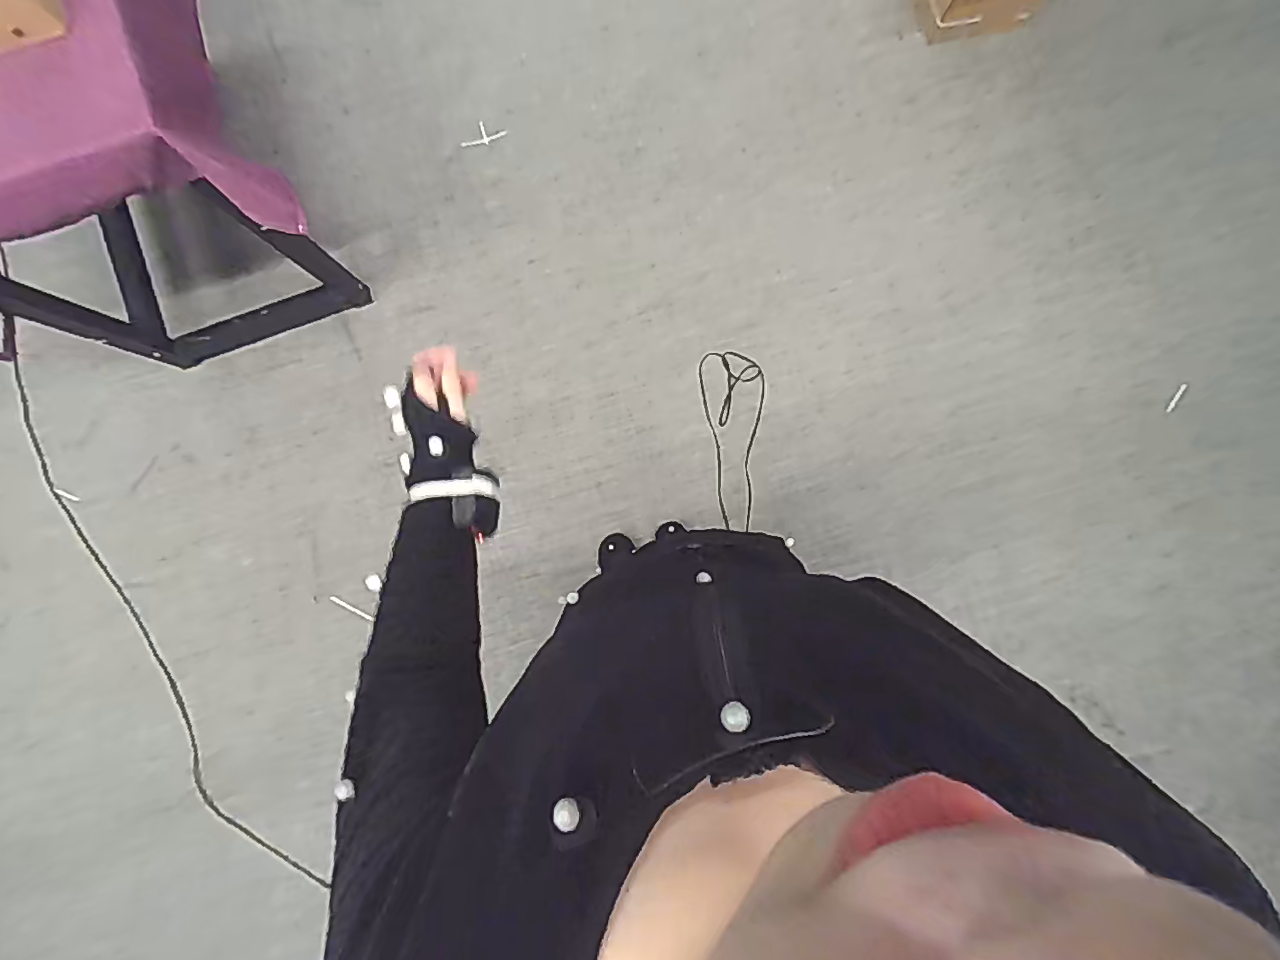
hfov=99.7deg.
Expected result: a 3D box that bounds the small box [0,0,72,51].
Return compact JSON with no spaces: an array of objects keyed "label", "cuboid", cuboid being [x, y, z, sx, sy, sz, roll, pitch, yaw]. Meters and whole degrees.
[{"label":"small box","cuboid":[-0.979,-0.762,0.764,0.168,0.176,0.179,-17,86,0]}]
